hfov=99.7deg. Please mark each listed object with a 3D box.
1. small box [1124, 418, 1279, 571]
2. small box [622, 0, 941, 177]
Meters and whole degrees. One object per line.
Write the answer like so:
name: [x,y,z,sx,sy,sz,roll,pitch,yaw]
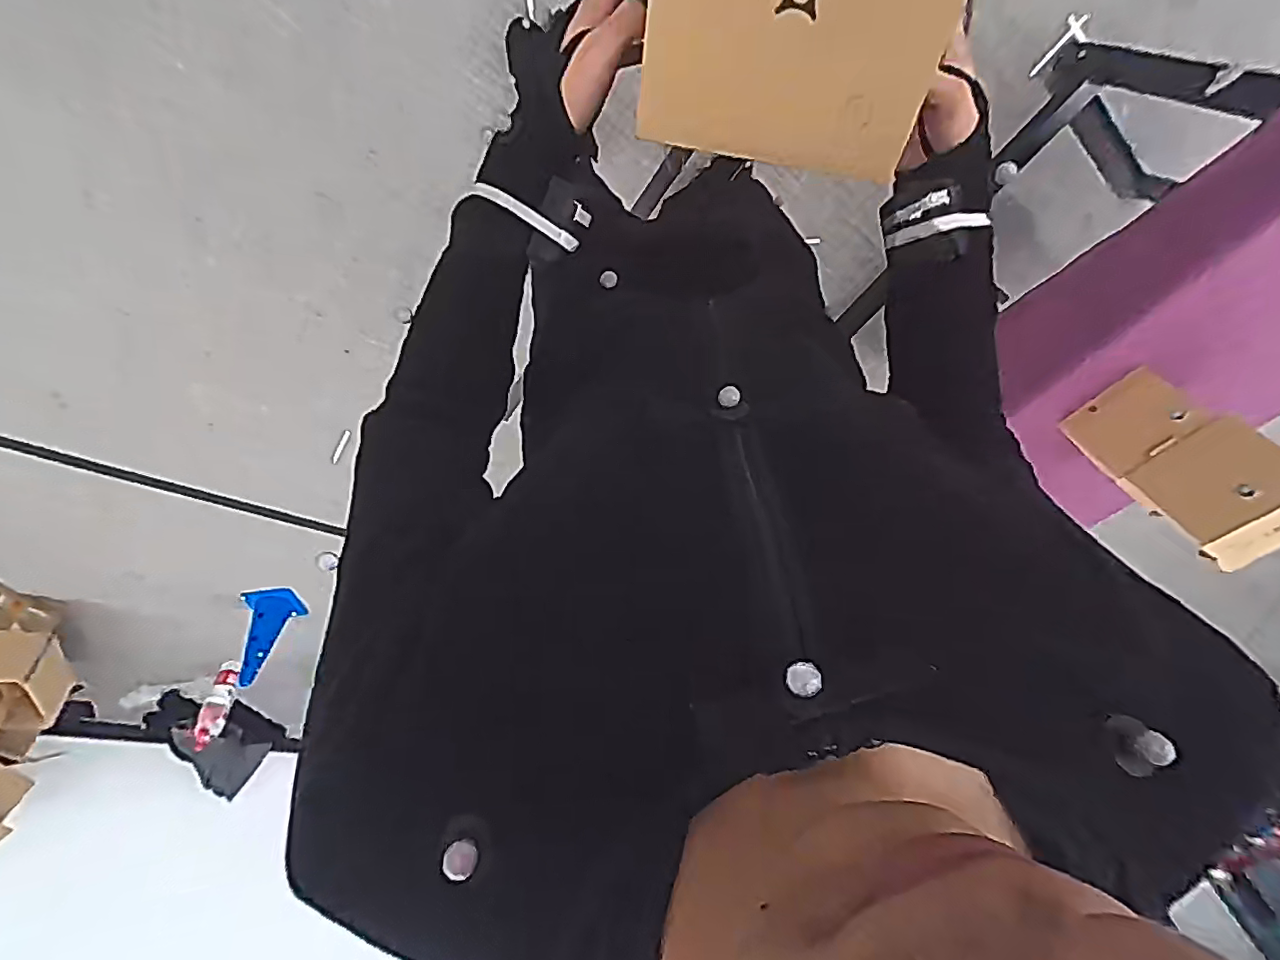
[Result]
small box: [1.009,0.023,0.934,0.168,0.176,0.179,25,124,-31]
small box: [0.093,-0.321,0.337,0.168,0.176,0.179,12,135,3]
